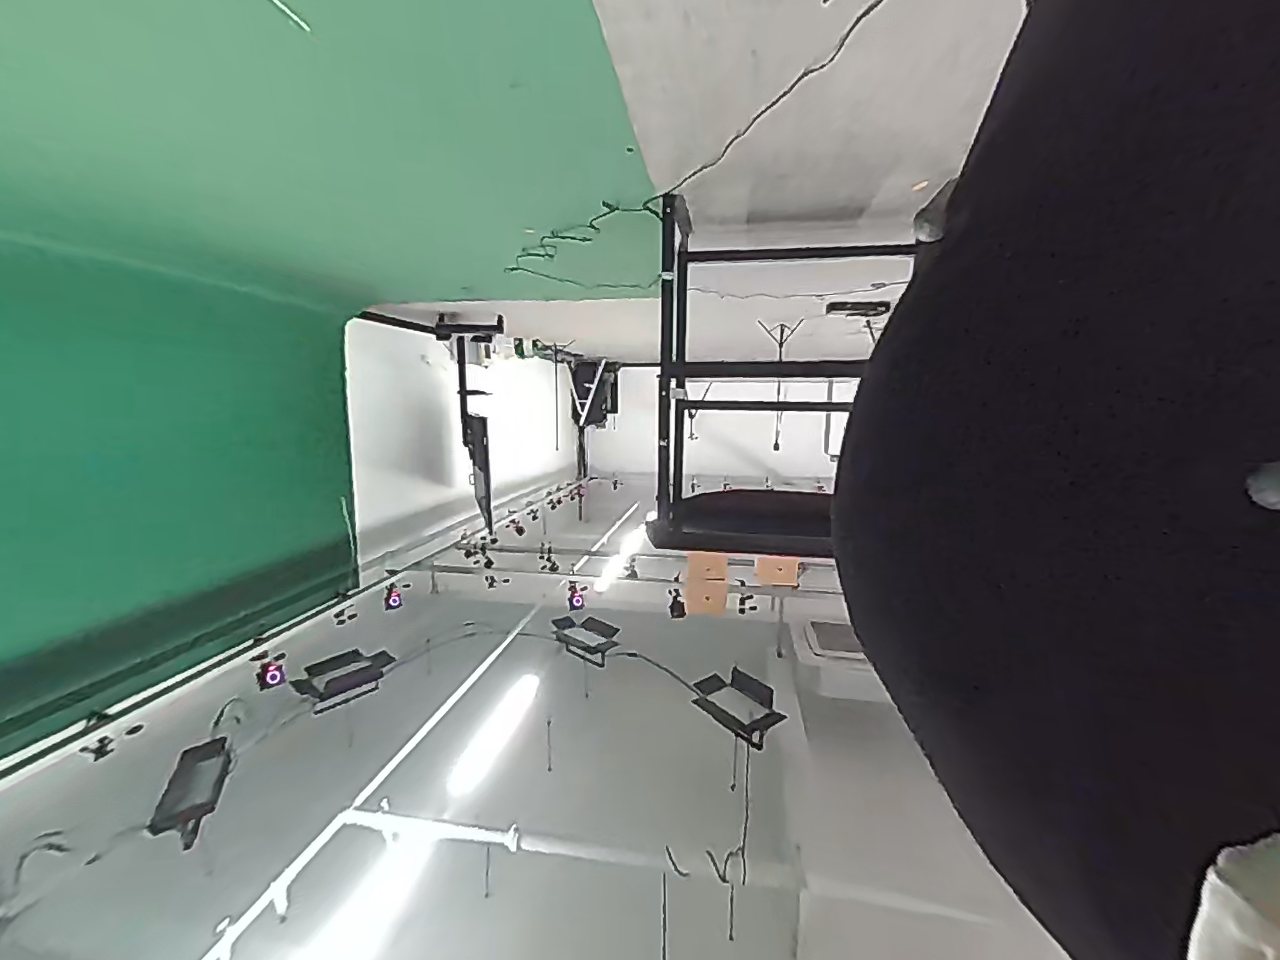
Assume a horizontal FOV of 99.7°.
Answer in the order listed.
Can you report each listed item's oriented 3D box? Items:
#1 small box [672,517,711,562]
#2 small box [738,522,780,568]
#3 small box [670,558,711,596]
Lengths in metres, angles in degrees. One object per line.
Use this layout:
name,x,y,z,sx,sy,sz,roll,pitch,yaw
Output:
small box,0.241,0.276,2.532,0.179,0.176,0.168,1,-169,6
small box,0.544,0.292,2.471,0.179,0.176,0.168,1,-169,7
small box,0.242,0.437,2.561,0.179,0.176,0.168,1,-169,12
